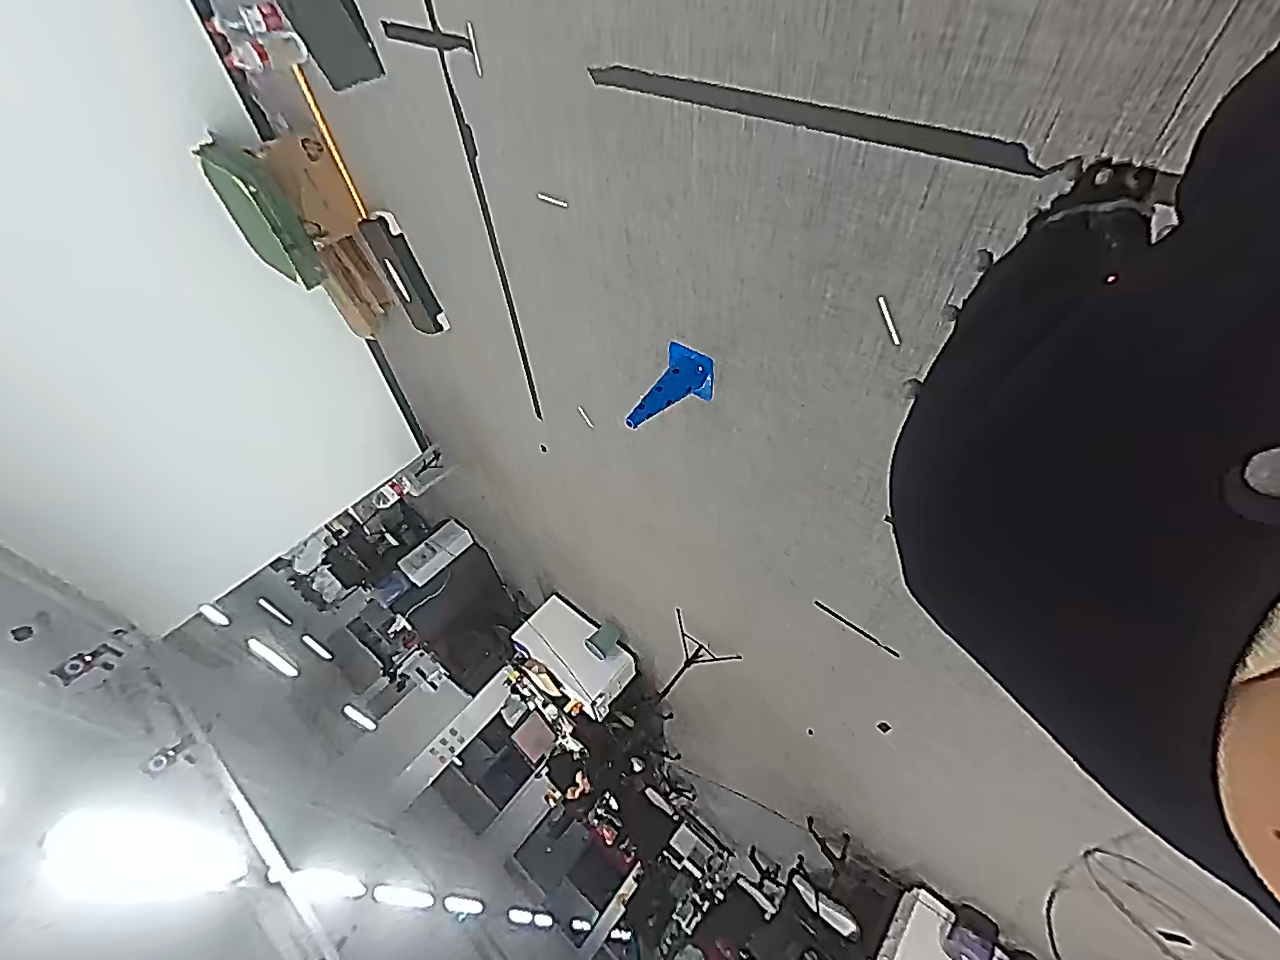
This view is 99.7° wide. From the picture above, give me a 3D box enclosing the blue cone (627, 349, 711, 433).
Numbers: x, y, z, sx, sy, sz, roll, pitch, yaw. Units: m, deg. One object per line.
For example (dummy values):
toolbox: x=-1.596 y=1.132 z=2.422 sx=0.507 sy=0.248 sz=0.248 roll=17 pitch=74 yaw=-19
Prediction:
blue cone: x=0.085 y=-0.300 z=1.968 sx=0.193 sy=0.380 sz=0.192 roll=32 pitch=150 yaw=26
